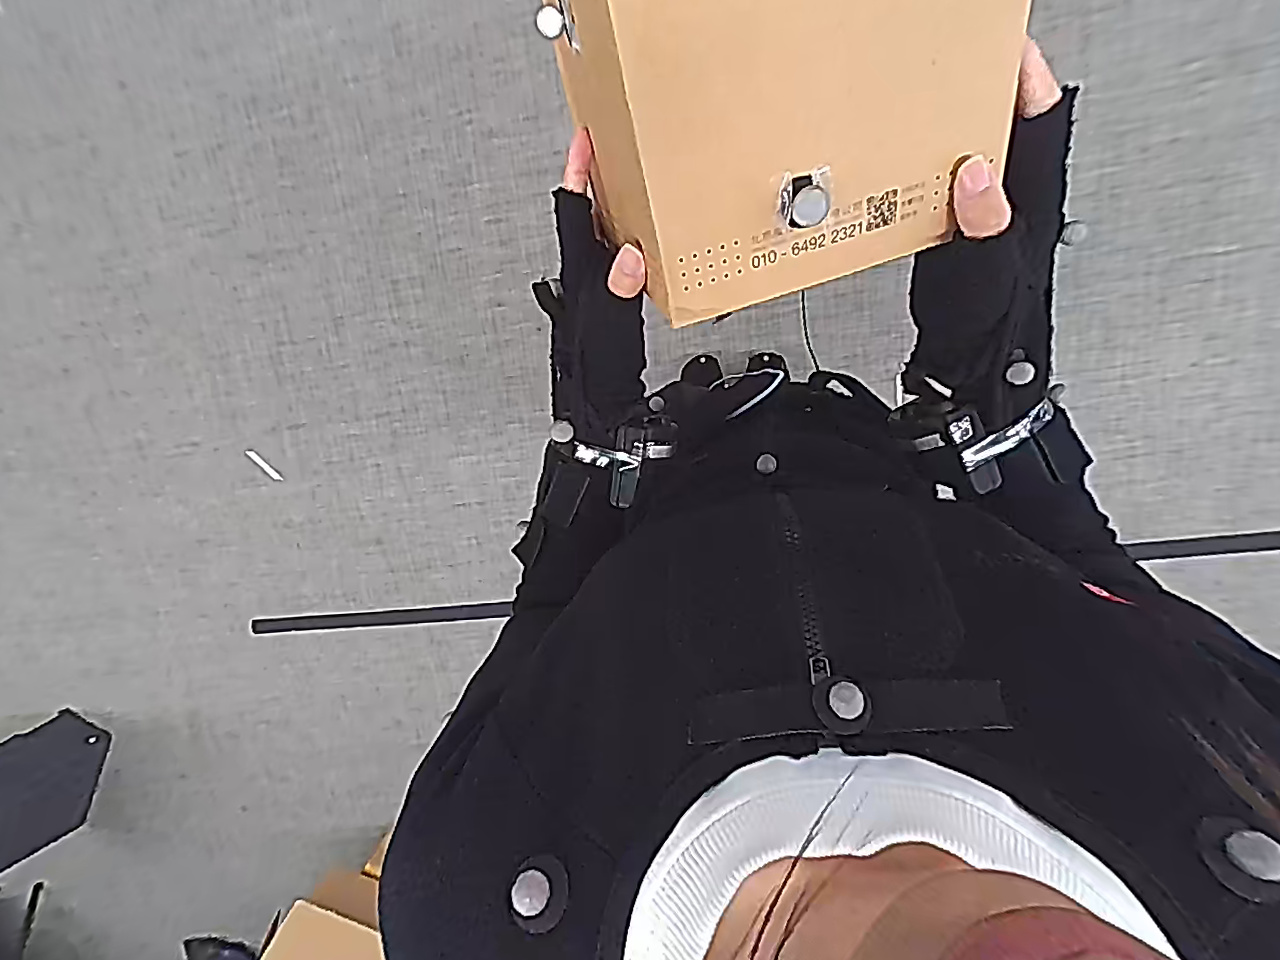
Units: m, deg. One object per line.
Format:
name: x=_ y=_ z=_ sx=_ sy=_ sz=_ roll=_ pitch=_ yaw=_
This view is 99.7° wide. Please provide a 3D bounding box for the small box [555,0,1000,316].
small box: x=0.056 y=-0.210 z=0.291 sx=0.168 sy=0.179 sz=0.176 roll=-19 pitch=128 yaw=-2
